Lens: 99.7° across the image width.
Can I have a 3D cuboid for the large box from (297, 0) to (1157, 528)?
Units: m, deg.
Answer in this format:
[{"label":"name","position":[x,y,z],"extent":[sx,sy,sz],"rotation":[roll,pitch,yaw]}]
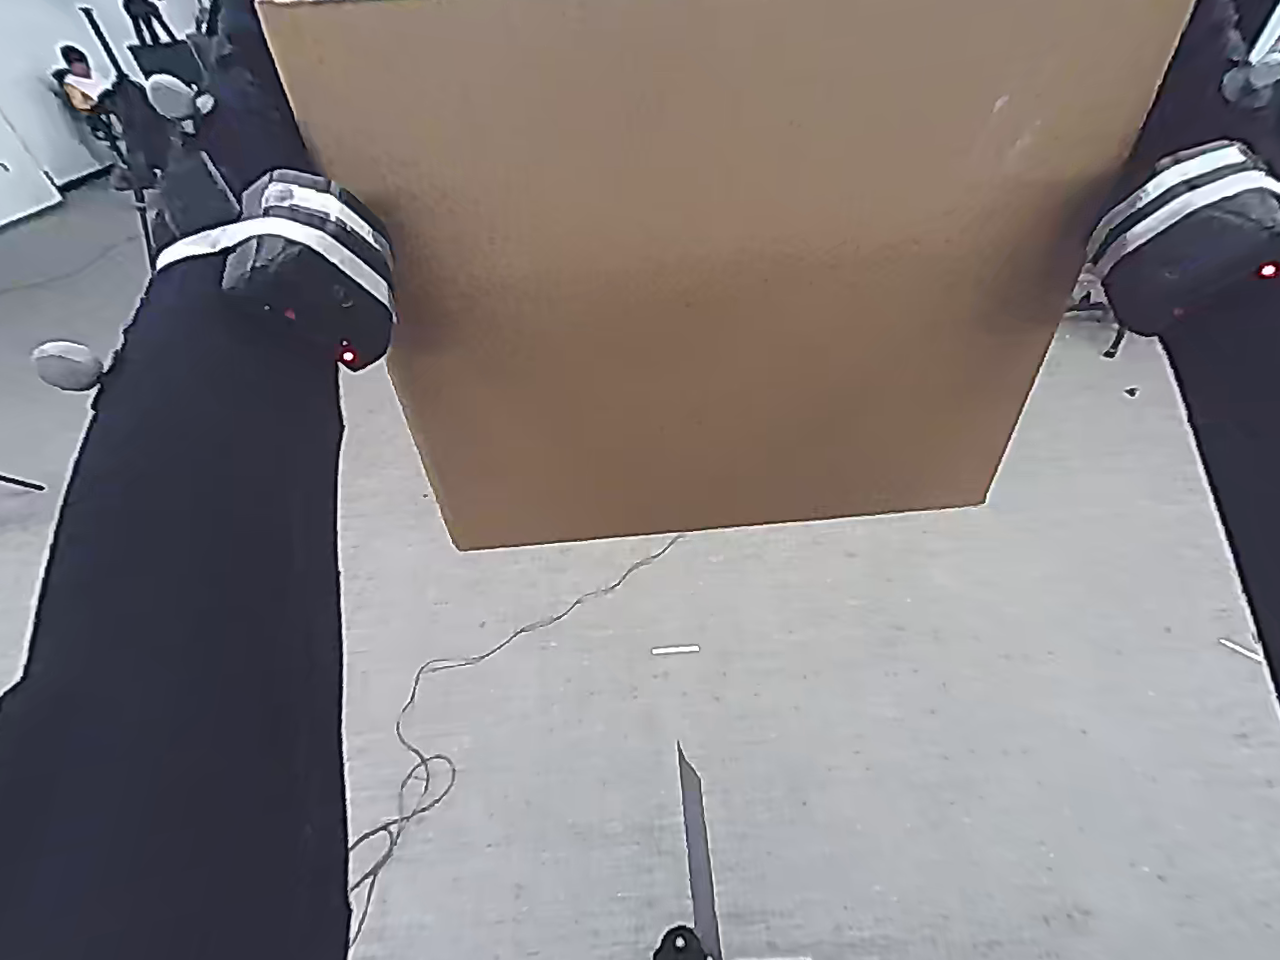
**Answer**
[{"label":"large box","position":[0.041,-0.185,0.445],"extent":[0.408,0.320,0.320],"rotation":[-5,38,-2]}]
